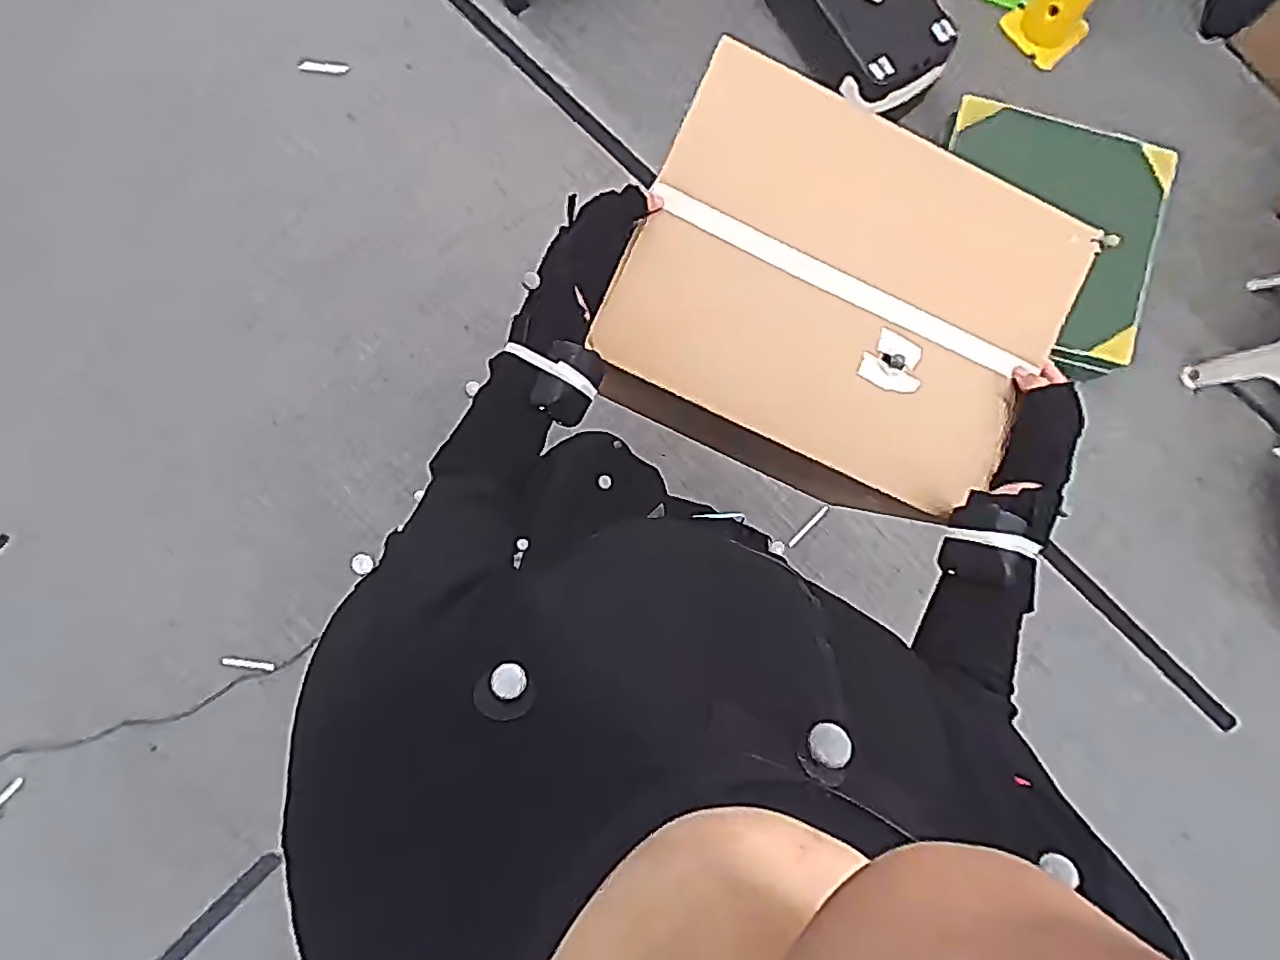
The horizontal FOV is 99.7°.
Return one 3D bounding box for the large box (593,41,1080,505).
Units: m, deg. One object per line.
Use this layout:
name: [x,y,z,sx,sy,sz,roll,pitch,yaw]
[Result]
large box: [0.181,-0.198,0.664,0.408,0.320,0.320,25,92,-5]
